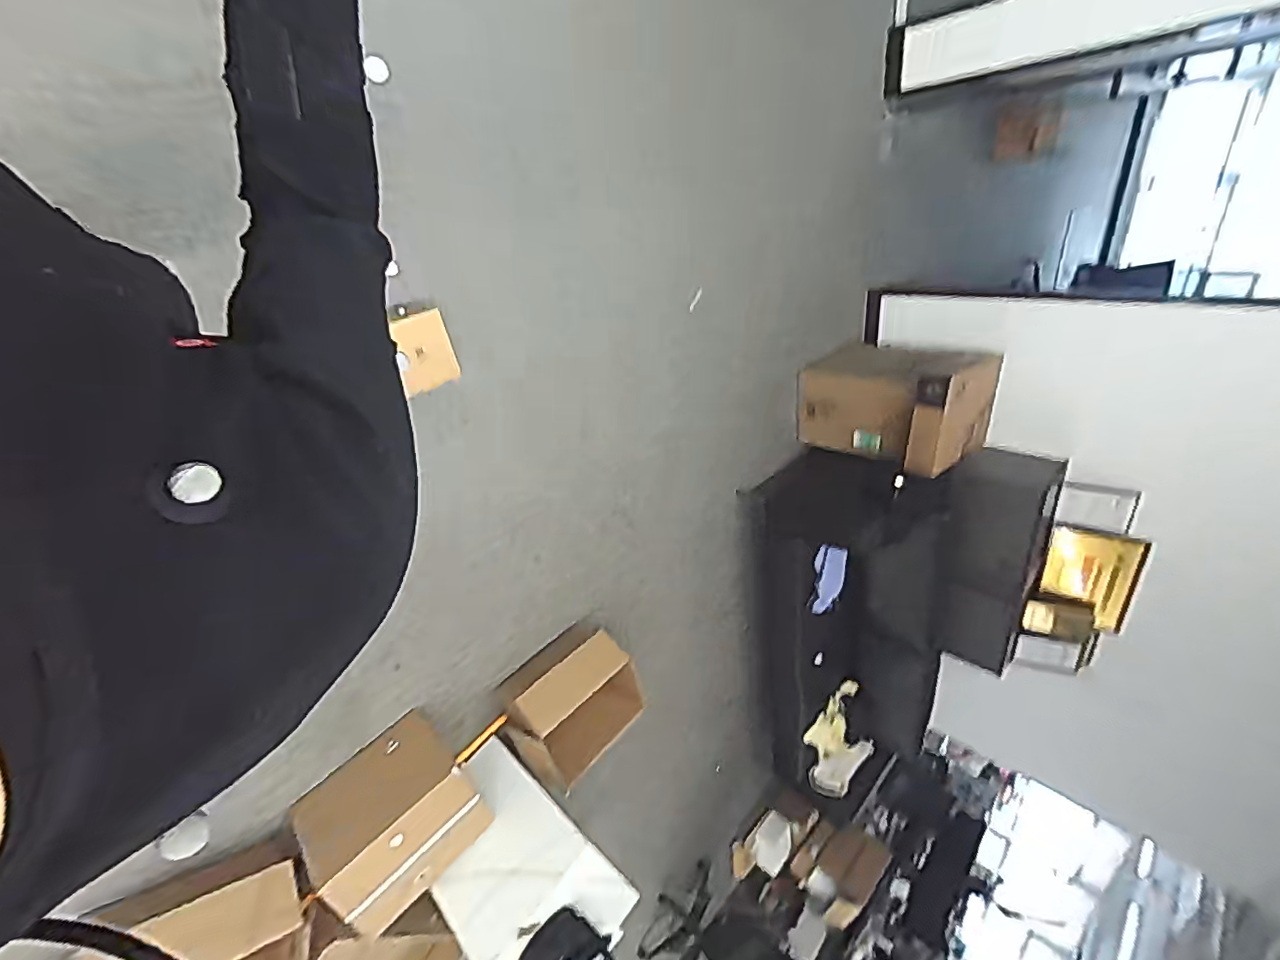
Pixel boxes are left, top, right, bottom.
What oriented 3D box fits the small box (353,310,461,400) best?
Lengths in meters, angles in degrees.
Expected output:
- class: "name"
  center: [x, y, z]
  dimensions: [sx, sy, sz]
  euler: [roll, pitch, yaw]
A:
- class: "small box"
  center: [-0.589, -0.320, 1.360]
  dimensions: [0.168, 0.176, 0.179]
  euler: [-34, 127, -33]
